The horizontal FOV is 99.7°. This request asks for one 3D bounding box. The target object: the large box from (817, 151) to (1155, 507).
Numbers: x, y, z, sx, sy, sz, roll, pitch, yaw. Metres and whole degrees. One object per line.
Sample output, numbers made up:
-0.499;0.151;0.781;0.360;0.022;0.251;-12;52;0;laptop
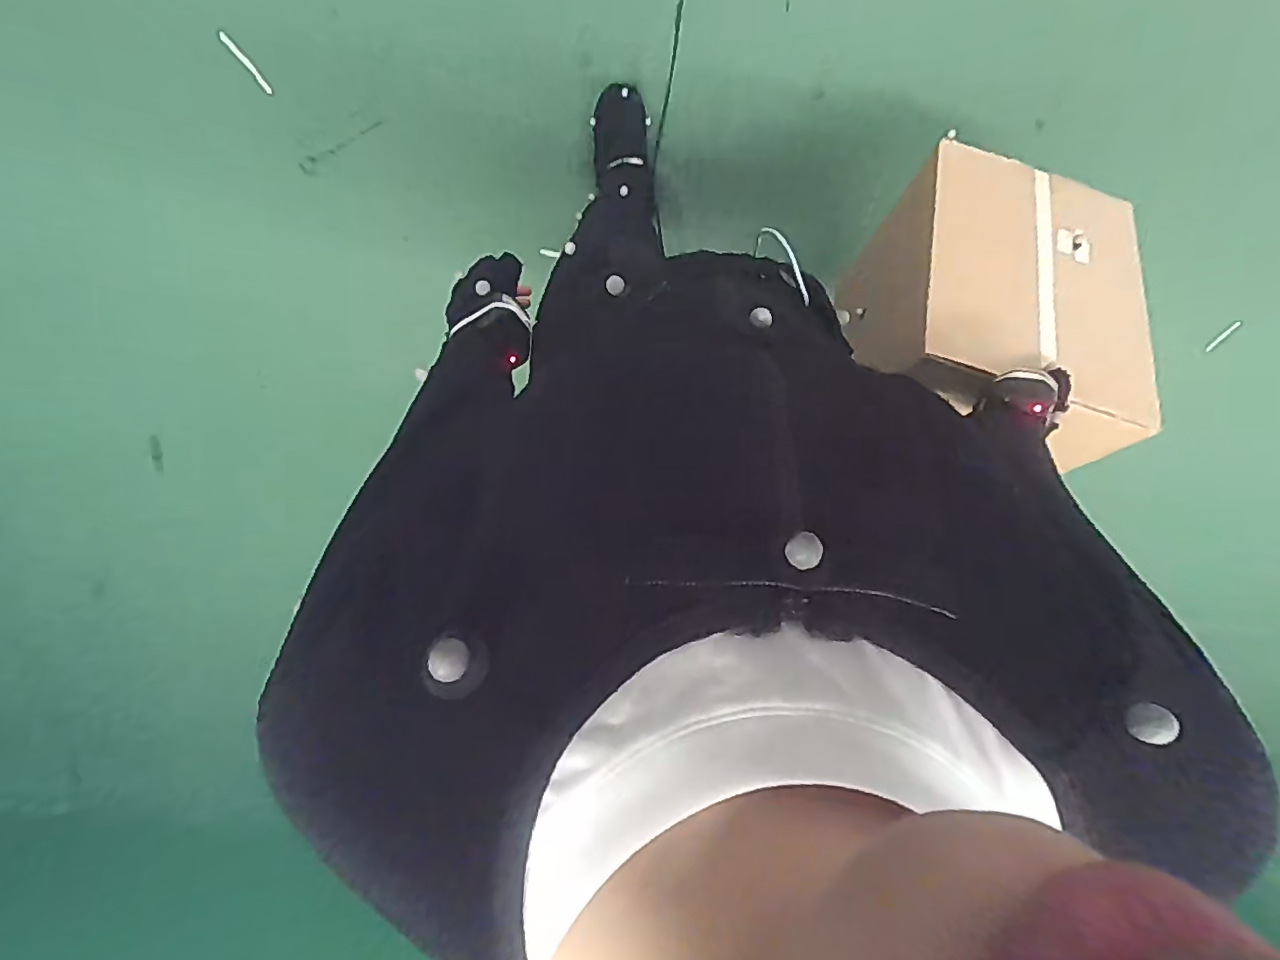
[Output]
0.512;-0.219;0.870;0.320;0.408;0.320;18;156;-3;large box
